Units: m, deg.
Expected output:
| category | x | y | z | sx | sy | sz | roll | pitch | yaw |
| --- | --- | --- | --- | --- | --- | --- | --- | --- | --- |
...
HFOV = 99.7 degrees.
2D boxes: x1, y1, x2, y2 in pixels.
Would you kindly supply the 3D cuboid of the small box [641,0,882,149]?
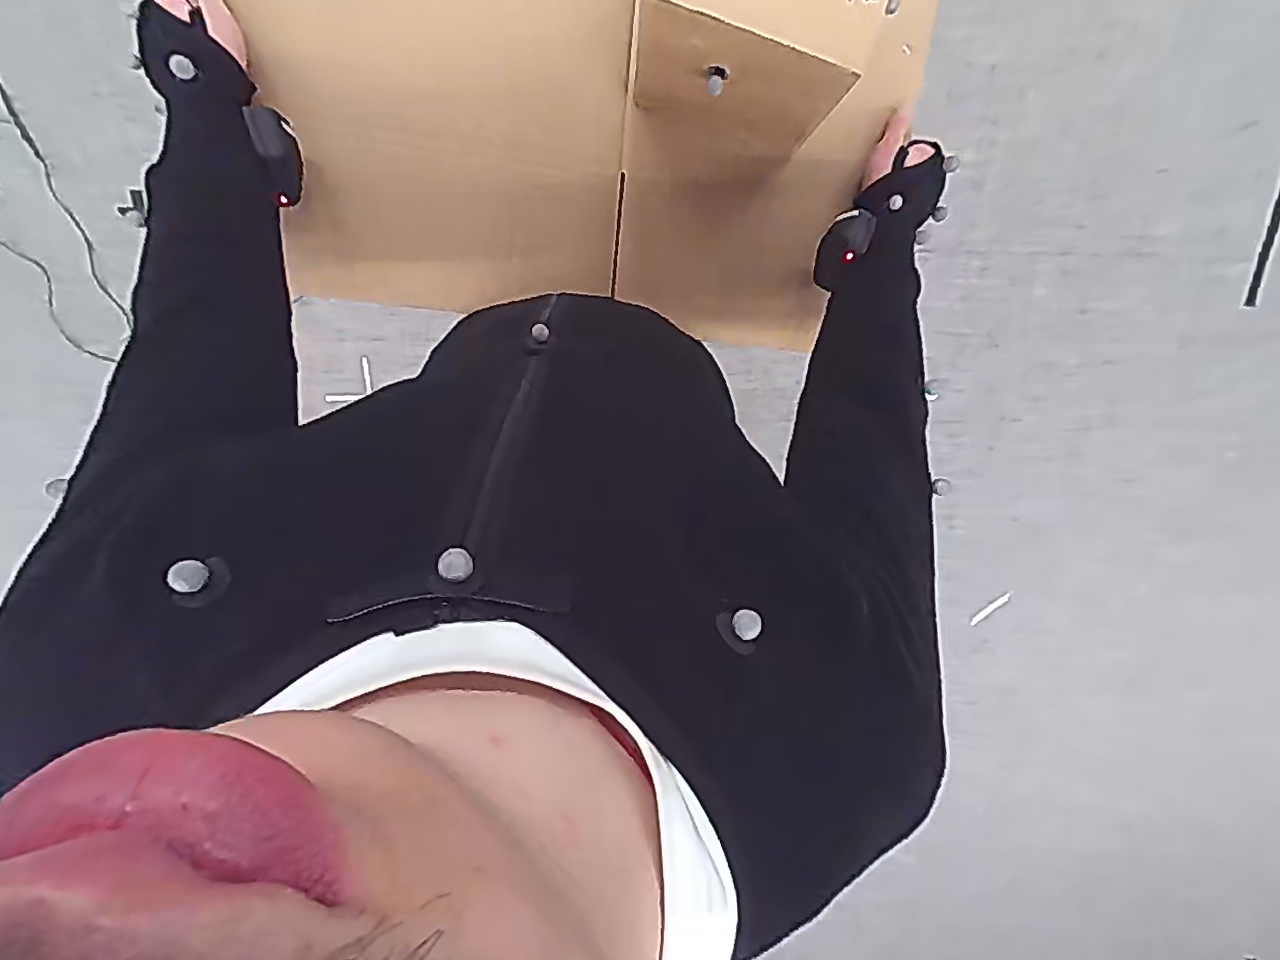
| category | x | y | z | sx | sy | sz | roll | pitch | yaw |
| --- | --- | --- | --- | --- | --- | --- | --- | --- | --- |
| small box | 0.104 | -0.422 | 0.468 | 0.179 | 0.176 | 0.168 | 16 | 101 | -5 |
